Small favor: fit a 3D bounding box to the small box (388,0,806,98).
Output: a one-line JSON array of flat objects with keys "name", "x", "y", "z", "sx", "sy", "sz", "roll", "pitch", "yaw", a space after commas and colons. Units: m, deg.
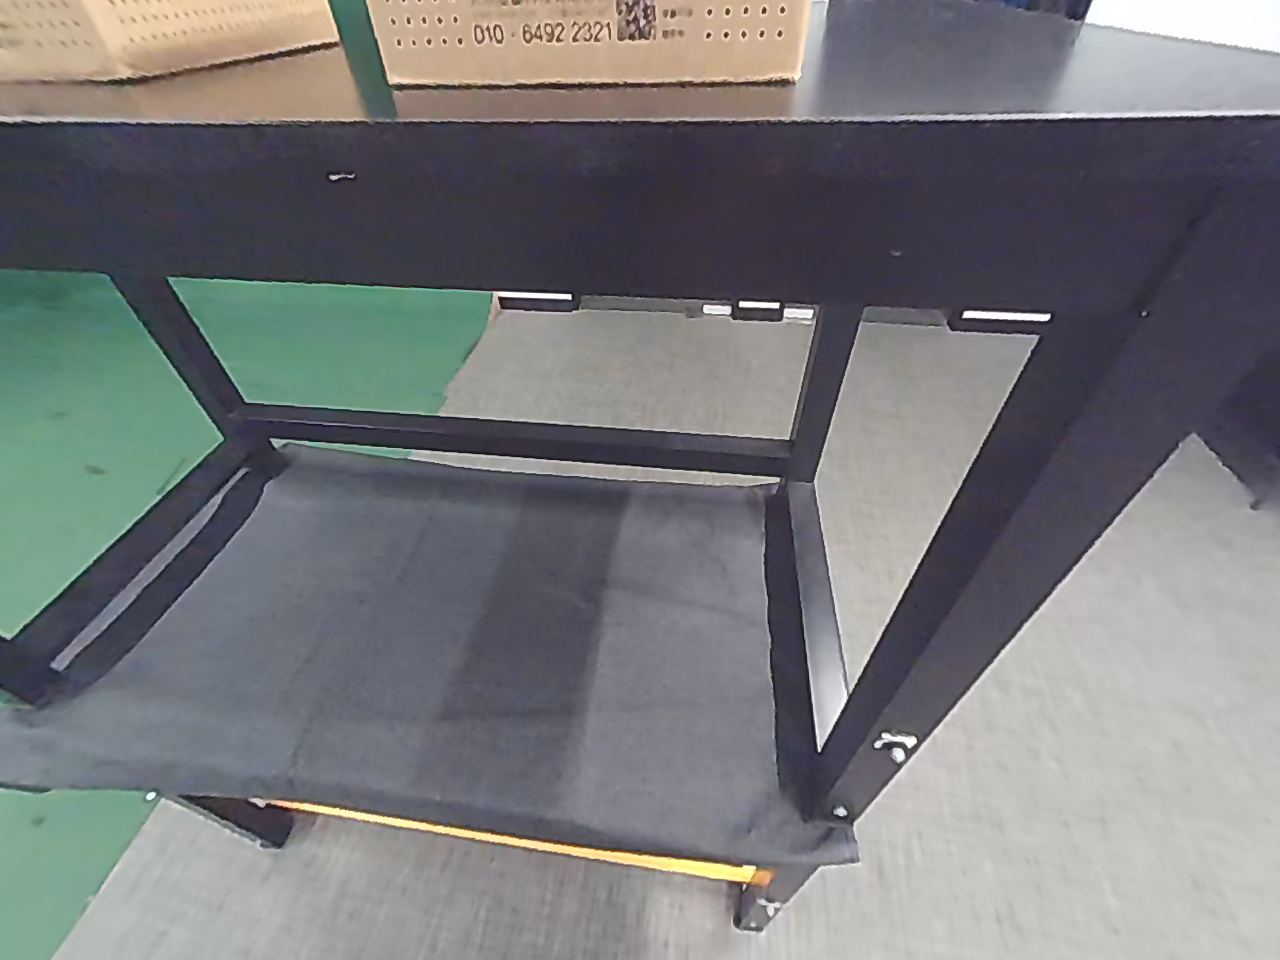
[{"name": "small box", "x": -0.011, "y": -0.269, "z": 0.219, "sx": 0.168, "sy": 0.176, "sz": 0.179, "roll": 5, "pitch": 44, "yaw": 7}]
